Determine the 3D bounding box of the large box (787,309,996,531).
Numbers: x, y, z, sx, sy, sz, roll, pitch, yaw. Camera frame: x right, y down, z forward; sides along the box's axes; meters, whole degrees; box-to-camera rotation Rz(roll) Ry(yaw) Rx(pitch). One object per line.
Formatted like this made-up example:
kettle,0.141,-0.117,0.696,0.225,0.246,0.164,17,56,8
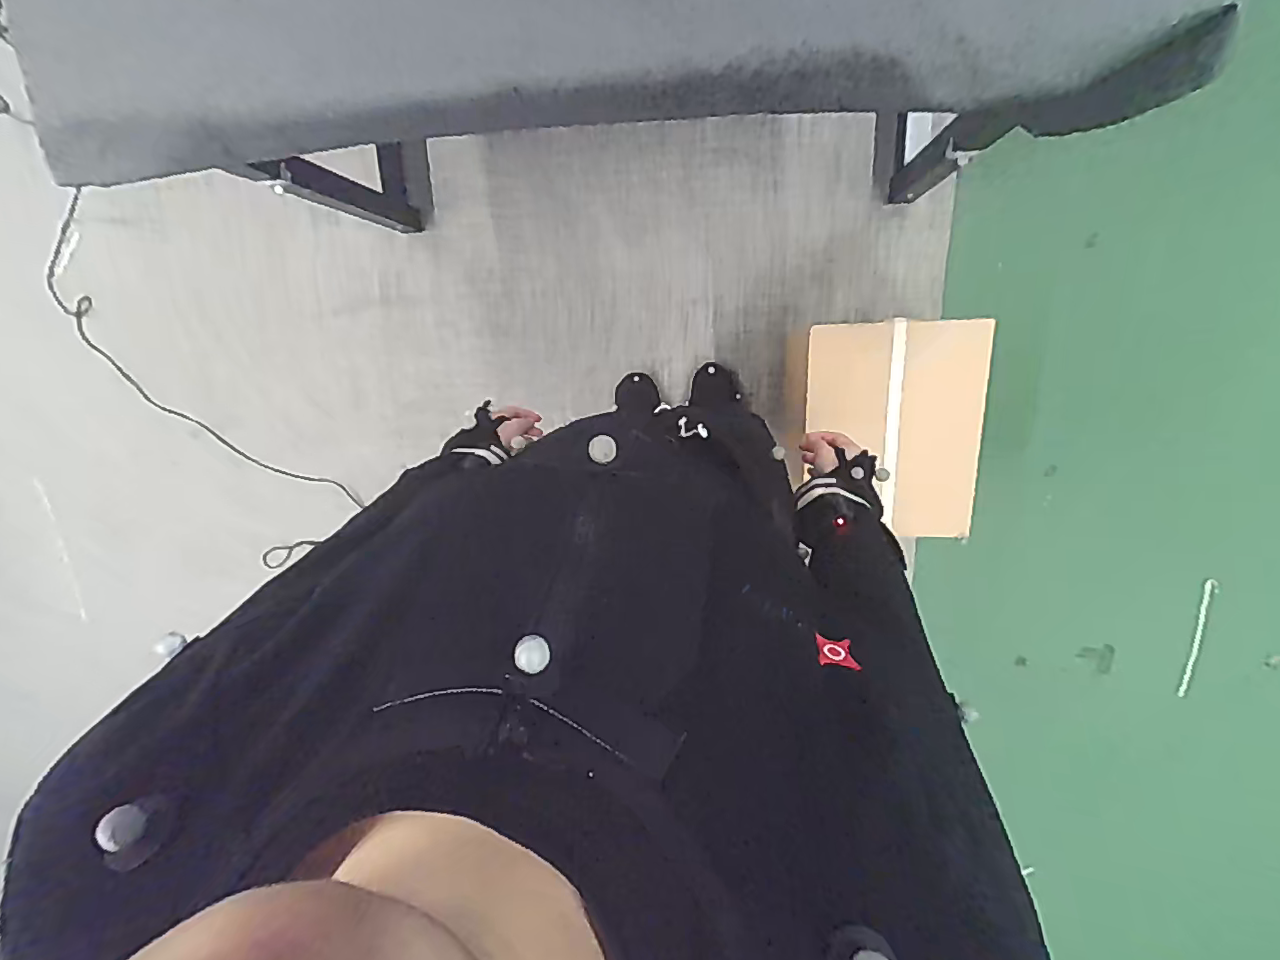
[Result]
large box,0.487,-0.134,1.133,0.320,0.320,0.408,0,105,8
